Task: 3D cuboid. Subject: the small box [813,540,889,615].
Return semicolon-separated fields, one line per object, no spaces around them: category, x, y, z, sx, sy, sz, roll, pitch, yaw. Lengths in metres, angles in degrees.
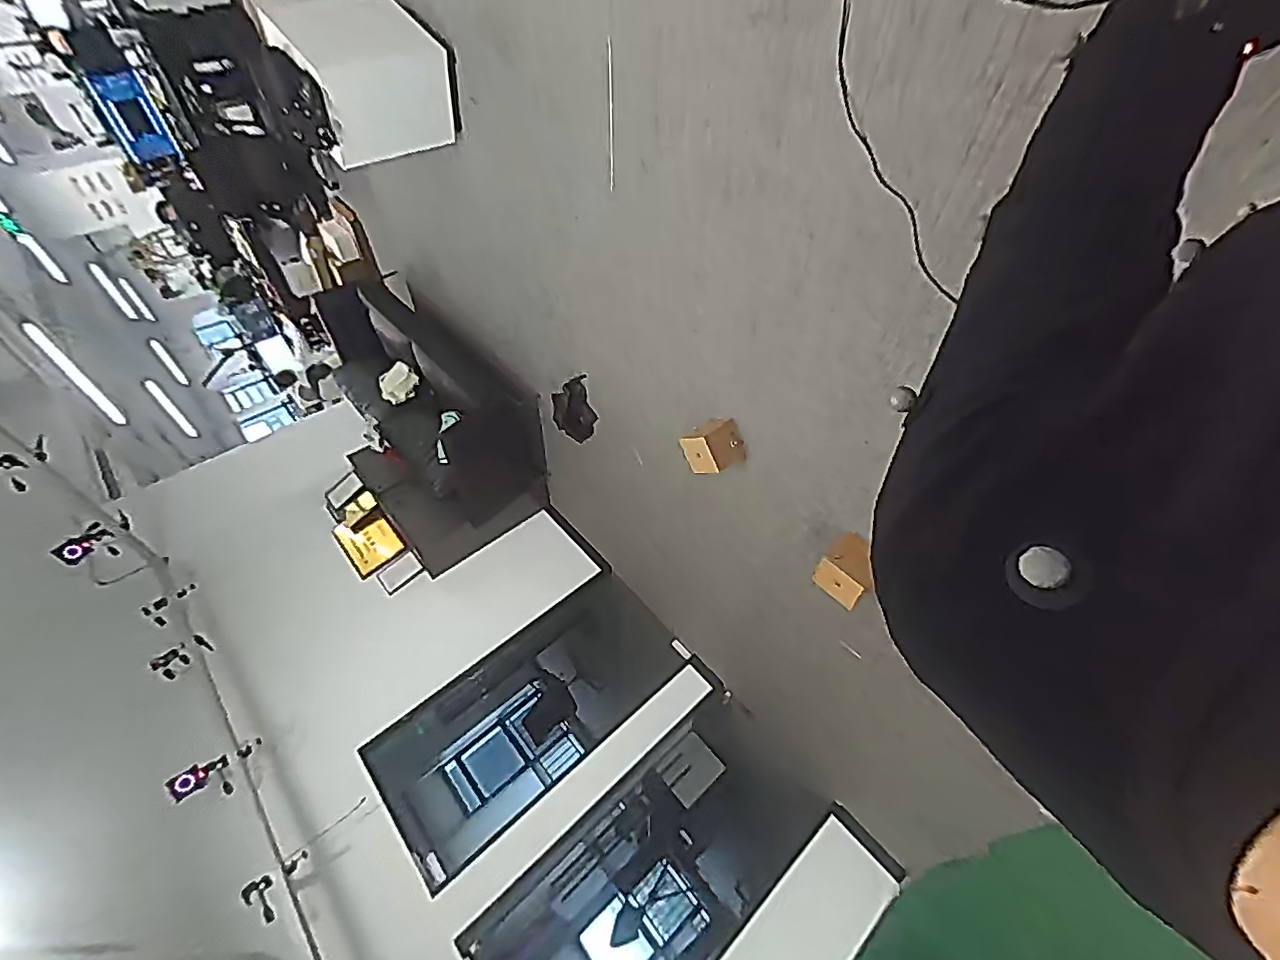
small box;0.768;0.350;1.969;0.179;0.176;0.168;42;150;30

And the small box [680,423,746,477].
small box;0.305;-0.124;2.242;0.179;0.176;0.168;-1;120;59
